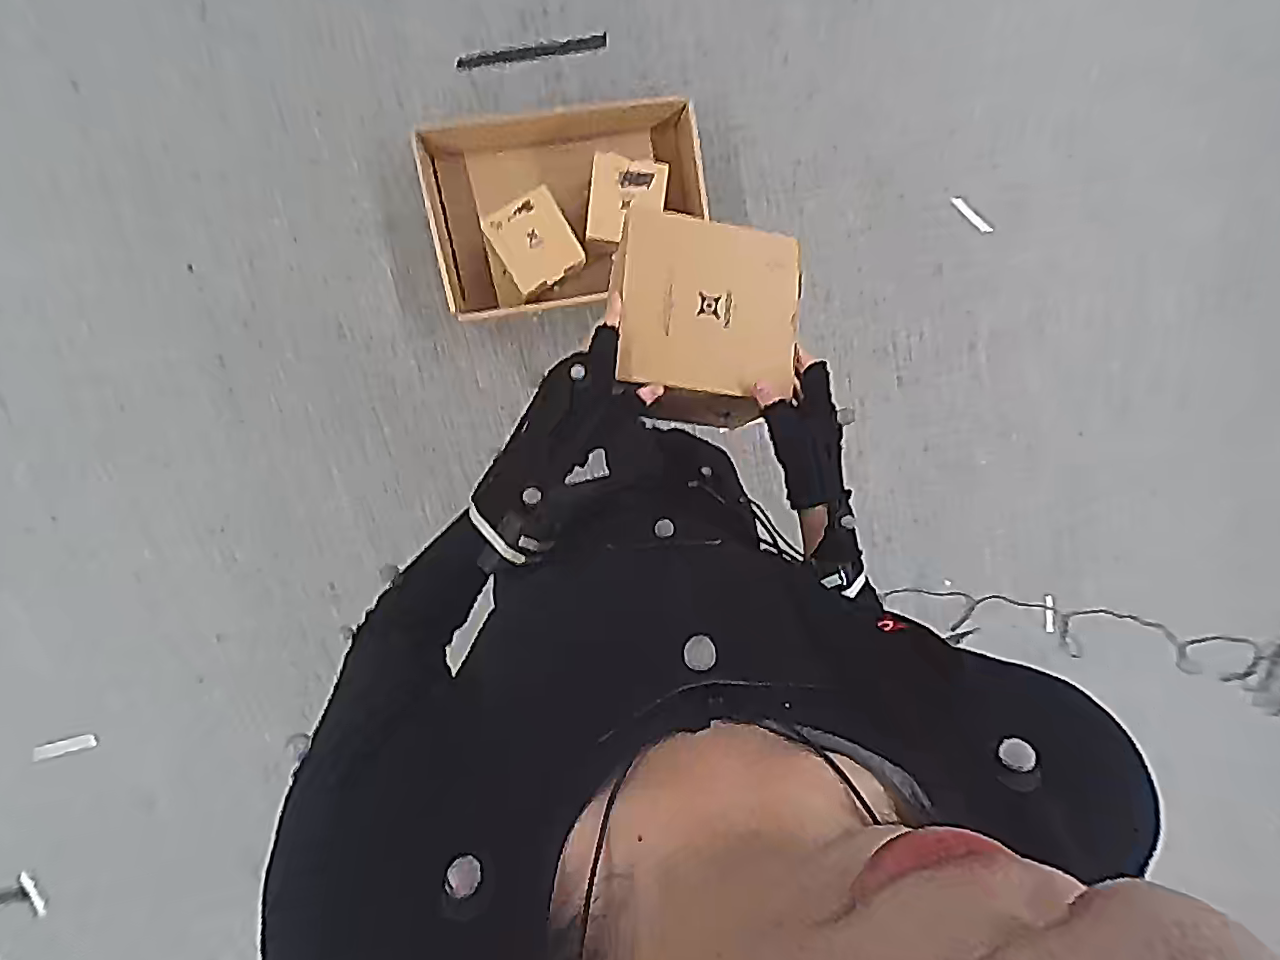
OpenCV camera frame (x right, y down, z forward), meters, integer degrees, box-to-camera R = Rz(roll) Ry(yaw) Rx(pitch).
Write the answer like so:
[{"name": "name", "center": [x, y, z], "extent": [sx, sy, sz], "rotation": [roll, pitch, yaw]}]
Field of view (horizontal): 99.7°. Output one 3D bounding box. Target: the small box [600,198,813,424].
[{"name": "small box", "center": [0.059, -0.159, 0.571], "extent": [0.179, 0.176, 0.168], "rotation": [6, 84, -9]}]
